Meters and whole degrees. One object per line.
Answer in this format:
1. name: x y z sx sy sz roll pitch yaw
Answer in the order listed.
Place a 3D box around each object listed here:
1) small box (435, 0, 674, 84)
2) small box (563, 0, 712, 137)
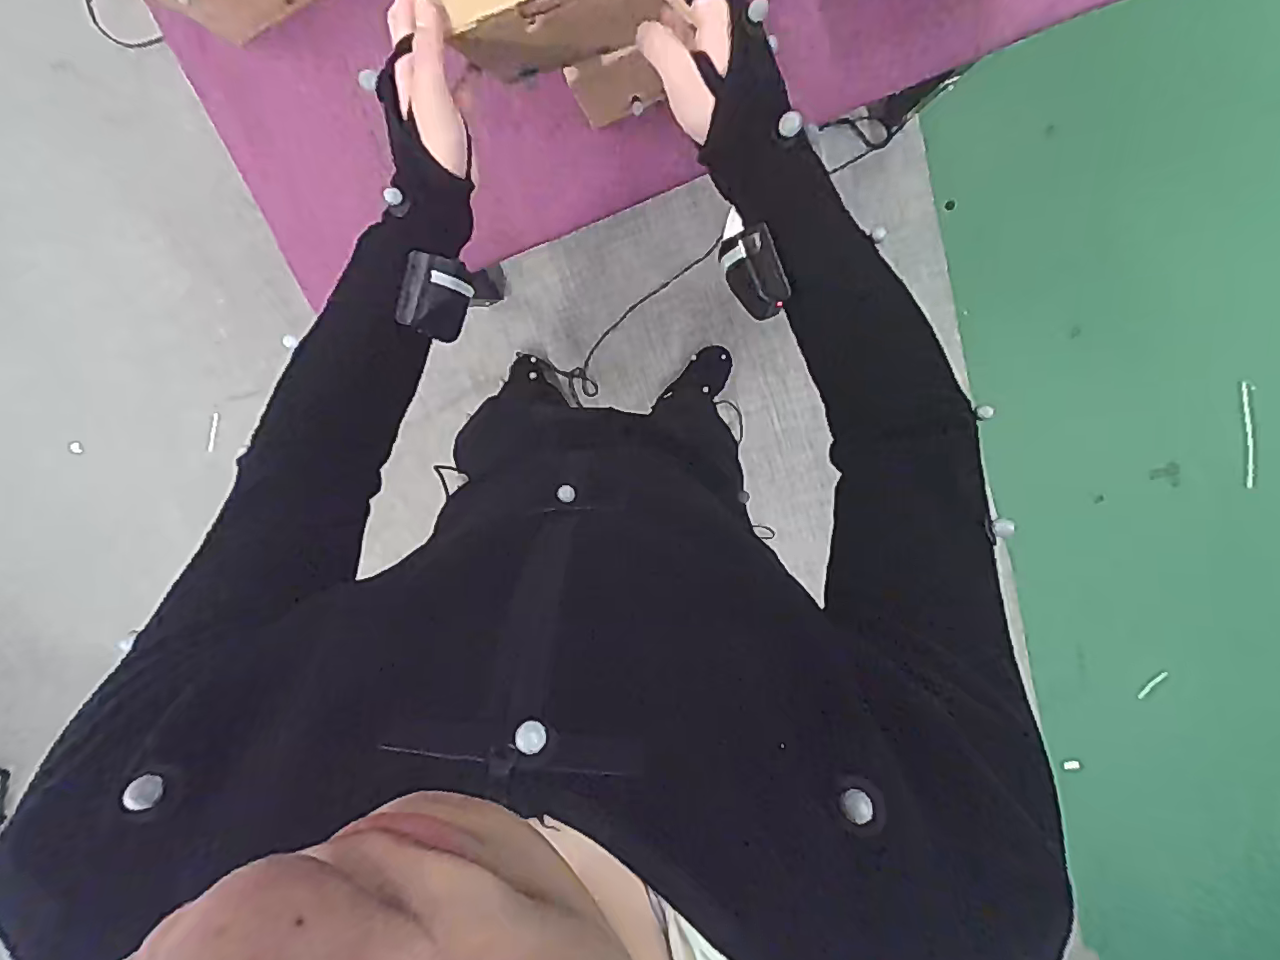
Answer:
1. small box: -0.070 -0.430 0.407 0.168 0.176 0.179 -11 113 9
2. small box: -0.022 -0.543 0.629 0.168 0.176 0.179 -17 104 10
